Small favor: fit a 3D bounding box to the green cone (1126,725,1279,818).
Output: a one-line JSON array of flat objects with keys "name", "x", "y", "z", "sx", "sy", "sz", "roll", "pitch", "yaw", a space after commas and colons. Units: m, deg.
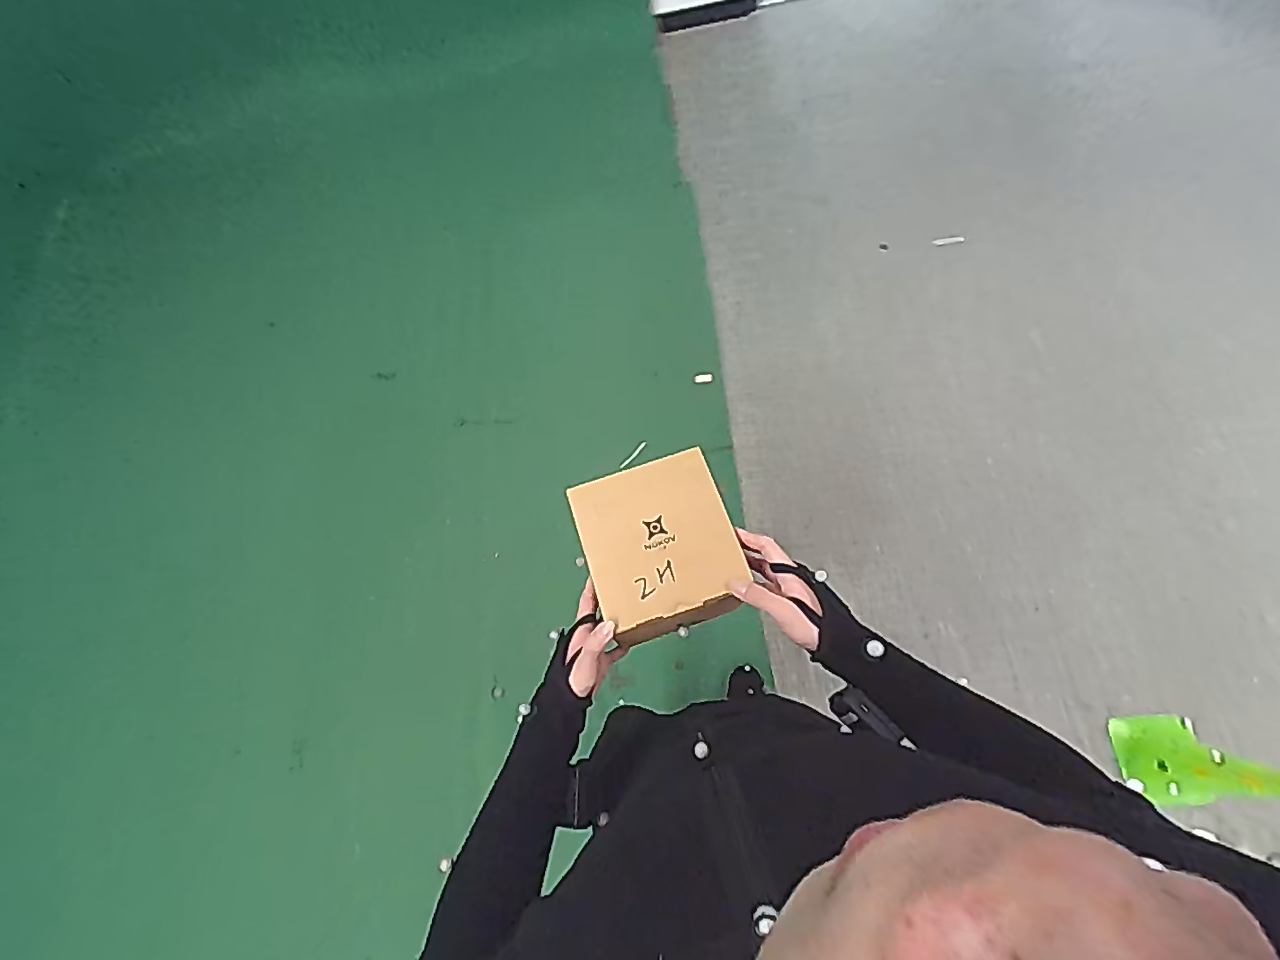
[{"name": "green cone", "x": 1.321, "y": 0.670, "z": 1.185, "sx": 0.200, "sy": 0.368, "sz": 0.202, "roll": -7, "pitch": 71, "yaw": 6}]
